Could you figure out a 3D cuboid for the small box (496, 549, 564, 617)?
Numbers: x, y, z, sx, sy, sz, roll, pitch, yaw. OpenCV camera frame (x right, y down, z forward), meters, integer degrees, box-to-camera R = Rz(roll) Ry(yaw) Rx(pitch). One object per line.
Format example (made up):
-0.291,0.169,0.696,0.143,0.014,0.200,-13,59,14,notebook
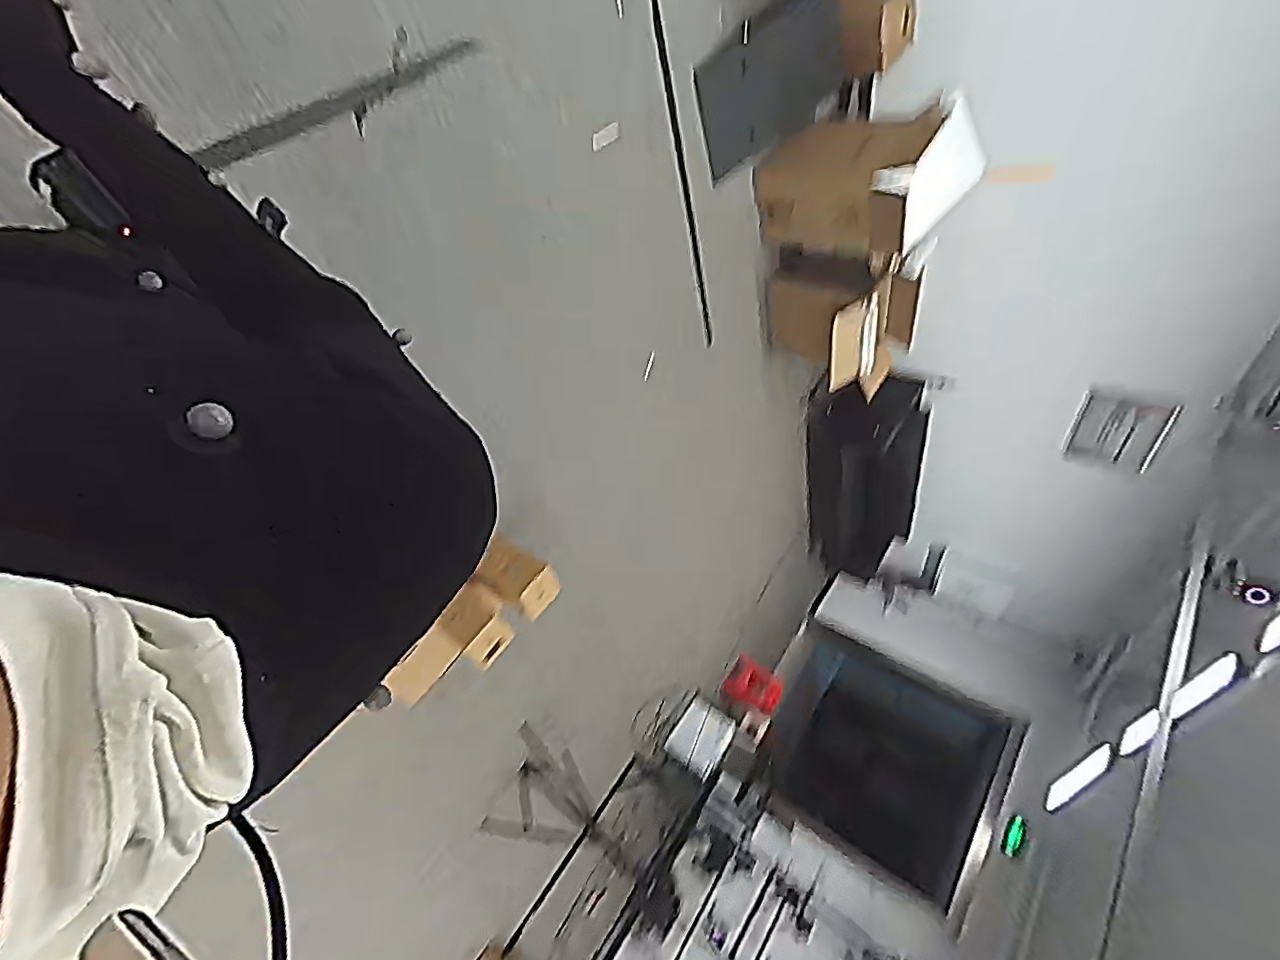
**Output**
-0.437,0.401,2.142,0.168,0.176,0.179,-47,142,-28,small box

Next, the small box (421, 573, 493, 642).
-0.713,0.492,2.111,0.168,0.176,0.179,-46,141,-28,small box

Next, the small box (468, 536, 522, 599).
-0.571,0.350,2.223,0.168,0.176,0.179,-48,141,-27,small box
